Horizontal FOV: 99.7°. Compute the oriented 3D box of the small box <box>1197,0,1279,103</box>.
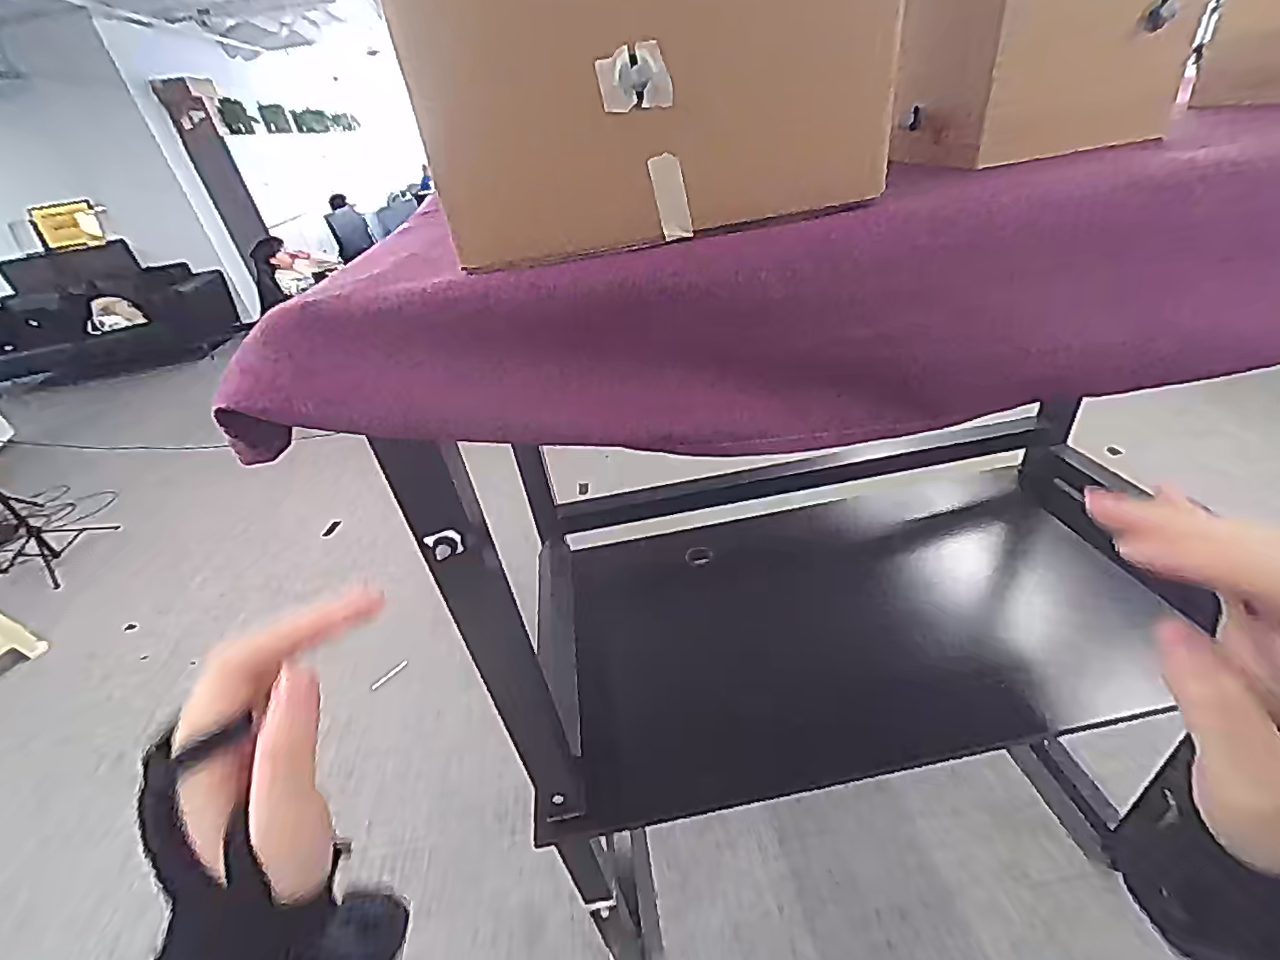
[{"bbox_3d":[0.695,-0.458,0.497,0.179,0.176,0.168,-10,33,-1],"label":"small box"}]

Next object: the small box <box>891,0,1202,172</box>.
[{"bbox_3d":[0.346,-0.390,0.485,0.179,0.176,0.168,-11,33,-2],"label":"small box"}]
